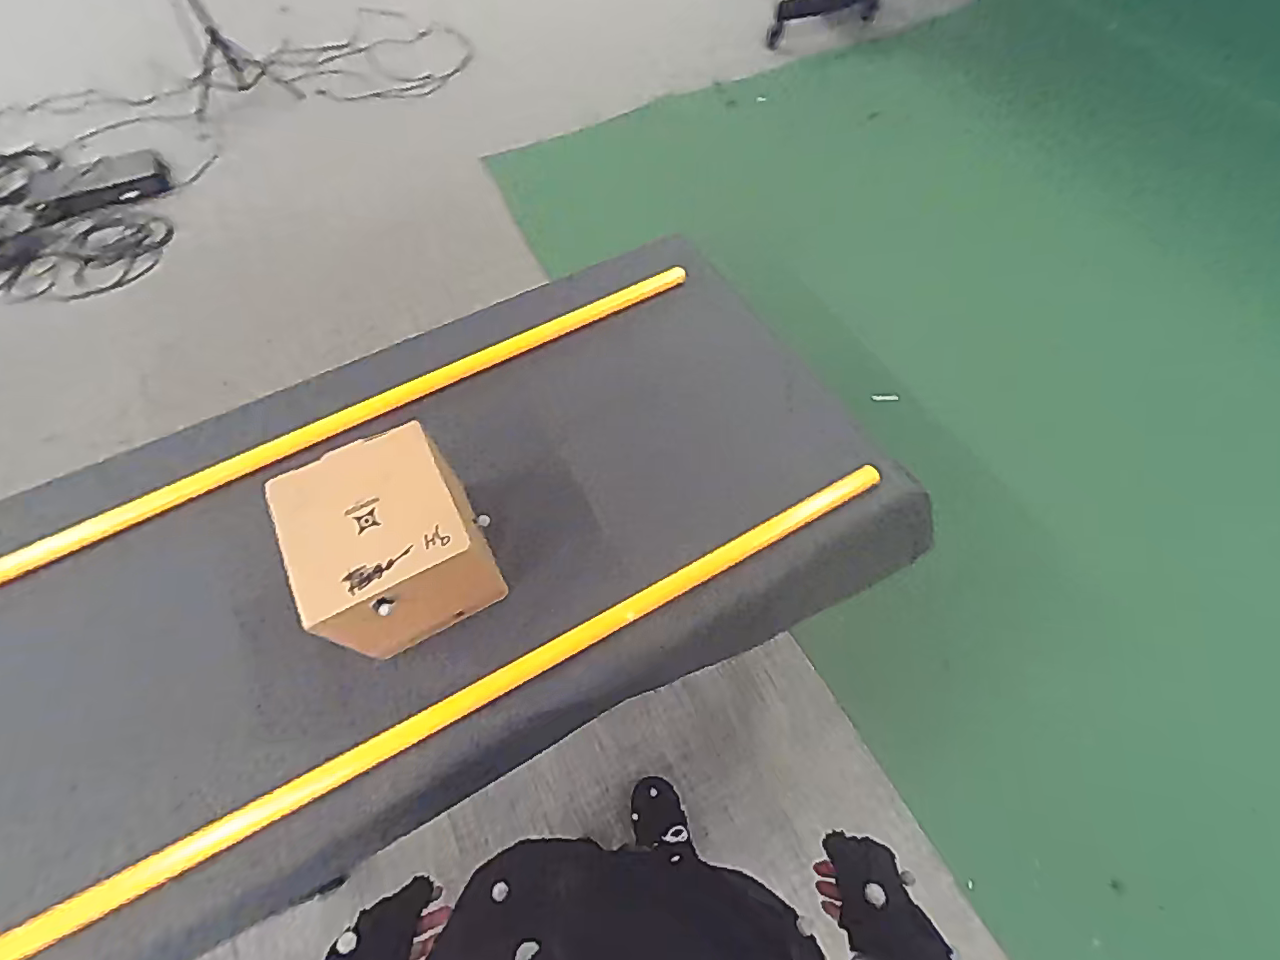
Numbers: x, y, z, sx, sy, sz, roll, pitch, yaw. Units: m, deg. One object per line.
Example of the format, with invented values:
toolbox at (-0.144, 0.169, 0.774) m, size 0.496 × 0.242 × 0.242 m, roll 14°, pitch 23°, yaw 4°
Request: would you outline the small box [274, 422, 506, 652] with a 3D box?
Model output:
small box at (-0.276, 0.072, 0.625) m, size 0.168 × 0.176 × 0.179 m, roll -27°, pitch 64°, yaw -12°
